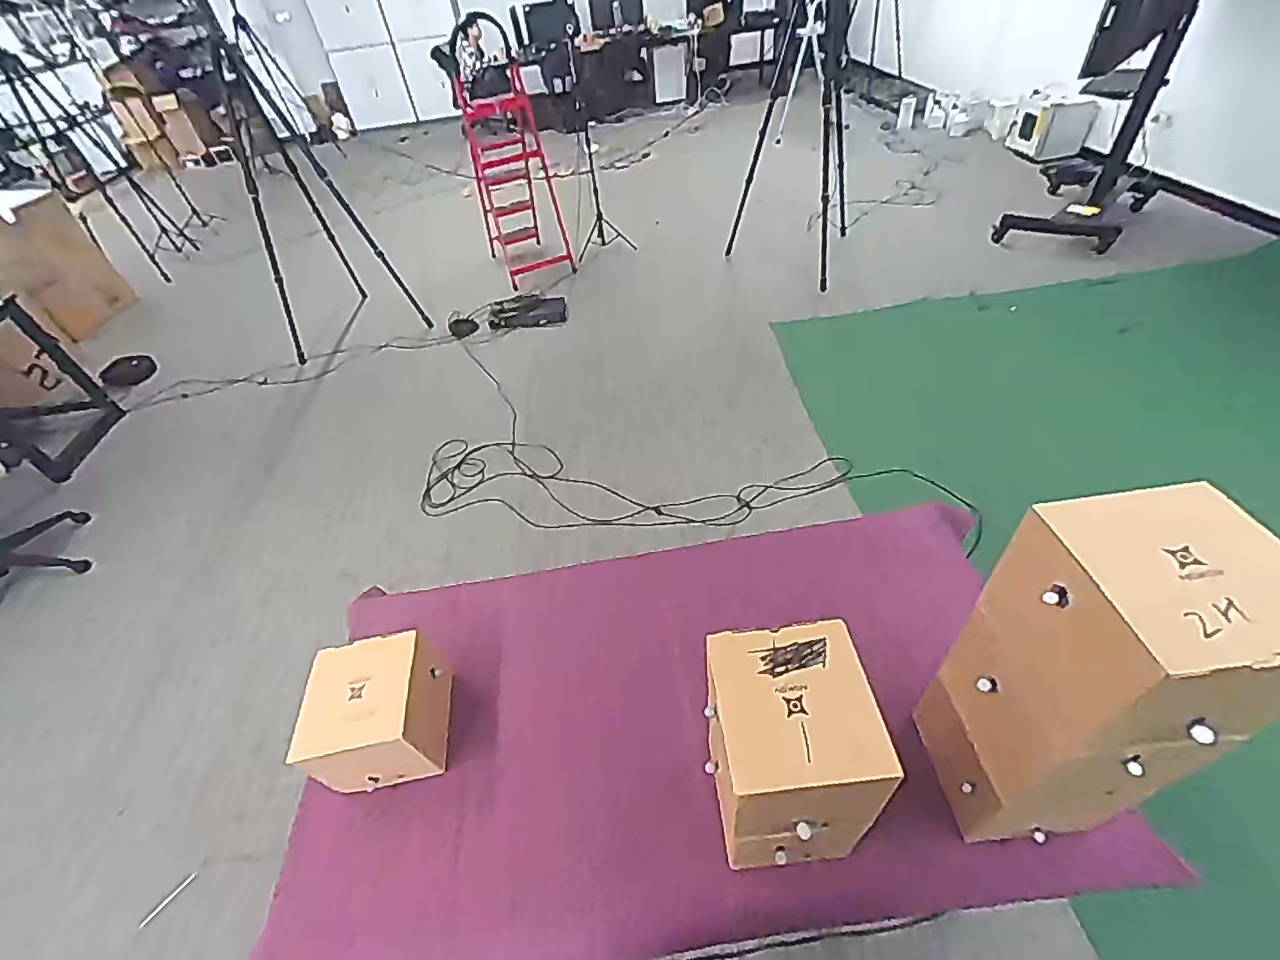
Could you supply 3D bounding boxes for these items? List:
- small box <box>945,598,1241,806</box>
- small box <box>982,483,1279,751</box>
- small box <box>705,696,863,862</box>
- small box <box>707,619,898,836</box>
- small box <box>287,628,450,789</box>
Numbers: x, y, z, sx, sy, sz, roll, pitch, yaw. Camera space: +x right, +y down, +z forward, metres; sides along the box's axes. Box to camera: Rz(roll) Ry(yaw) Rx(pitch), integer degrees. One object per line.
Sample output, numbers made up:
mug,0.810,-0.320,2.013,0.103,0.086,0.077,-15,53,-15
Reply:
small box,0.485,0.247,0.621,0.168,0.176,0.179,-7,44,3
small box,0.464,0.129,0.508,0.168,0.176,0.179,-8,45,3
small box,0.187,0.407,0.747,0.168,0.176,0.179,-8,44,2
small box,0.171,0.289,0.634,0.168,0.176,0.179,-8,44,2
small box,-0.421,0.370,0.876,0.168,0.176,0.179,-11,46,-2
